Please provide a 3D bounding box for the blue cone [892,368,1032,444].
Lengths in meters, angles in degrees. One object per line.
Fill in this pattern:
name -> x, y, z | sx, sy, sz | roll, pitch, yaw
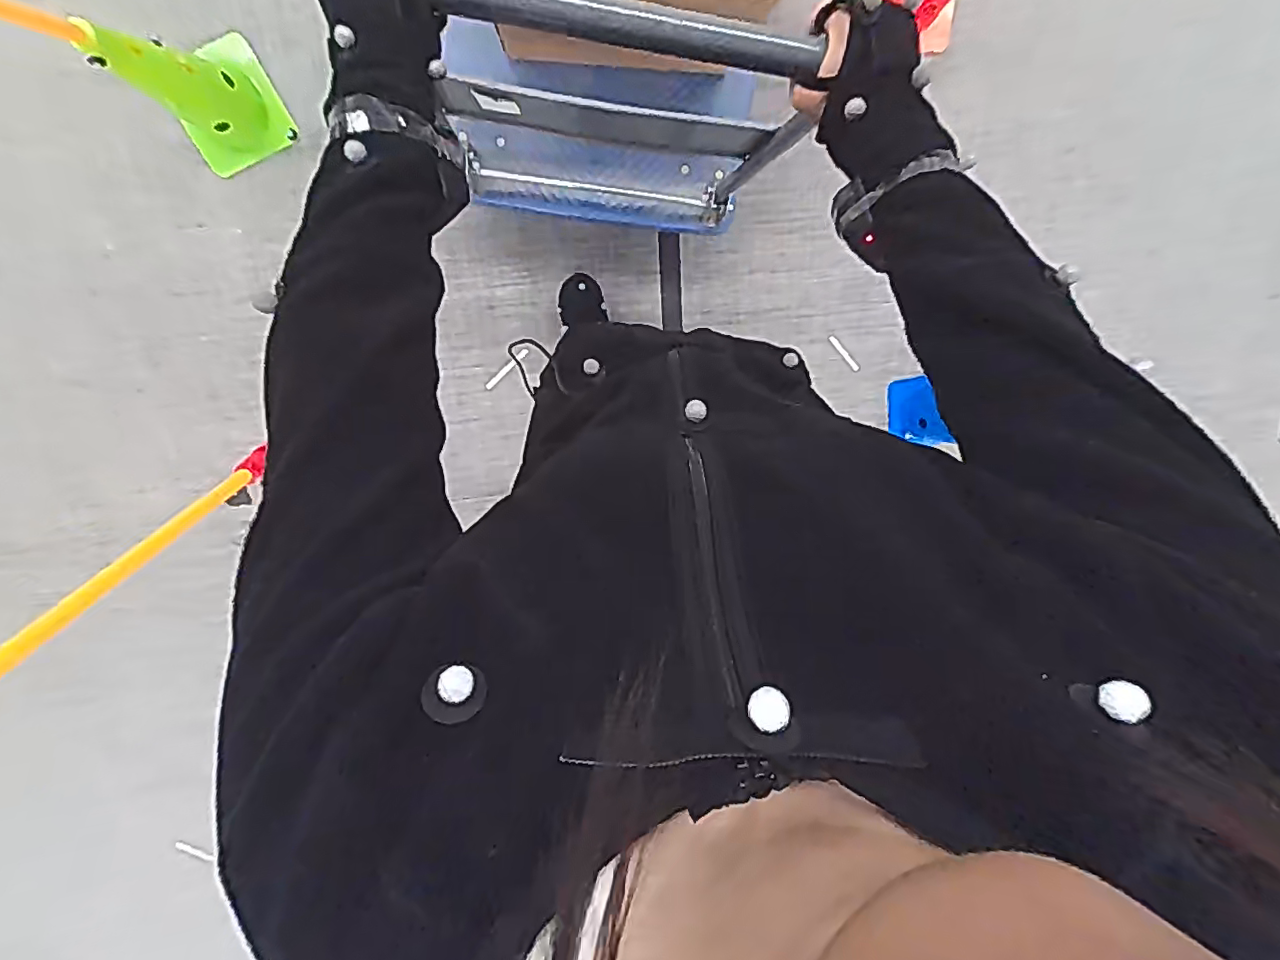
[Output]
blue cone -> 0.798, -0.146, 1.322 | 0.193, 0.380, 0.192 | -10, 109, -3

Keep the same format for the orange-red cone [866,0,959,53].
orange-red cone -> 0.605, -0.970, 0.985 | 0.199, 0.360, 0.198 | 0, 111, -7
